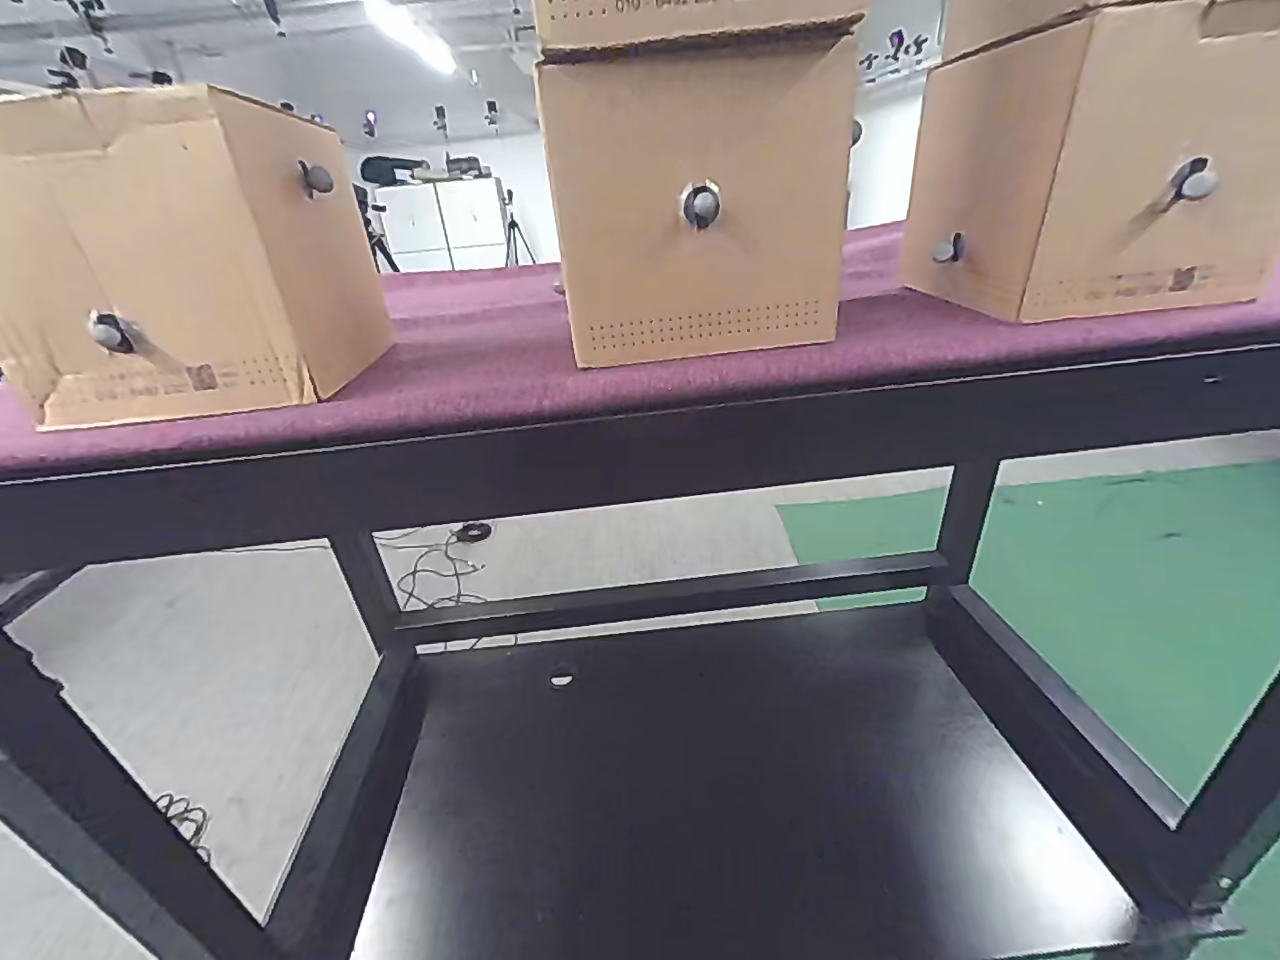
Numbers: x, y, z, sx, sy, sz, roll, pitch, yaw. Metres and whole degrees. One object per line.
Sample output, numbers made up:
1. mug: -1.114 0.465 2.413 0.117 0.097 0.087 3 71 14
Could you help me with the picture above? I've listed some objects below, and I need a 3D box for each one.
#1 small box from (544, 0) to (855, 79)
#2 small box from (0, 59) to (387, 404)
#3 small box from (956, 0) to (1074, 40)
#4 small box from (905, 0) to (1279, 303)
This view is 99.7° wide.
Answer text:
1. small box: 0.024 -0.342 0.301 0.168 0.176 0.179 -5 30 2
2. small box: -0.292 -0.160 0.367 0.168 0.176 0.179 -7 28 -5
3. small box: 0.316 -0.373 0.313 0.168 0.176 0.179 -5 30 3
4. small box: 0.320 -0.231 0.393 0.168 0.176 0.179 -6 30 0
